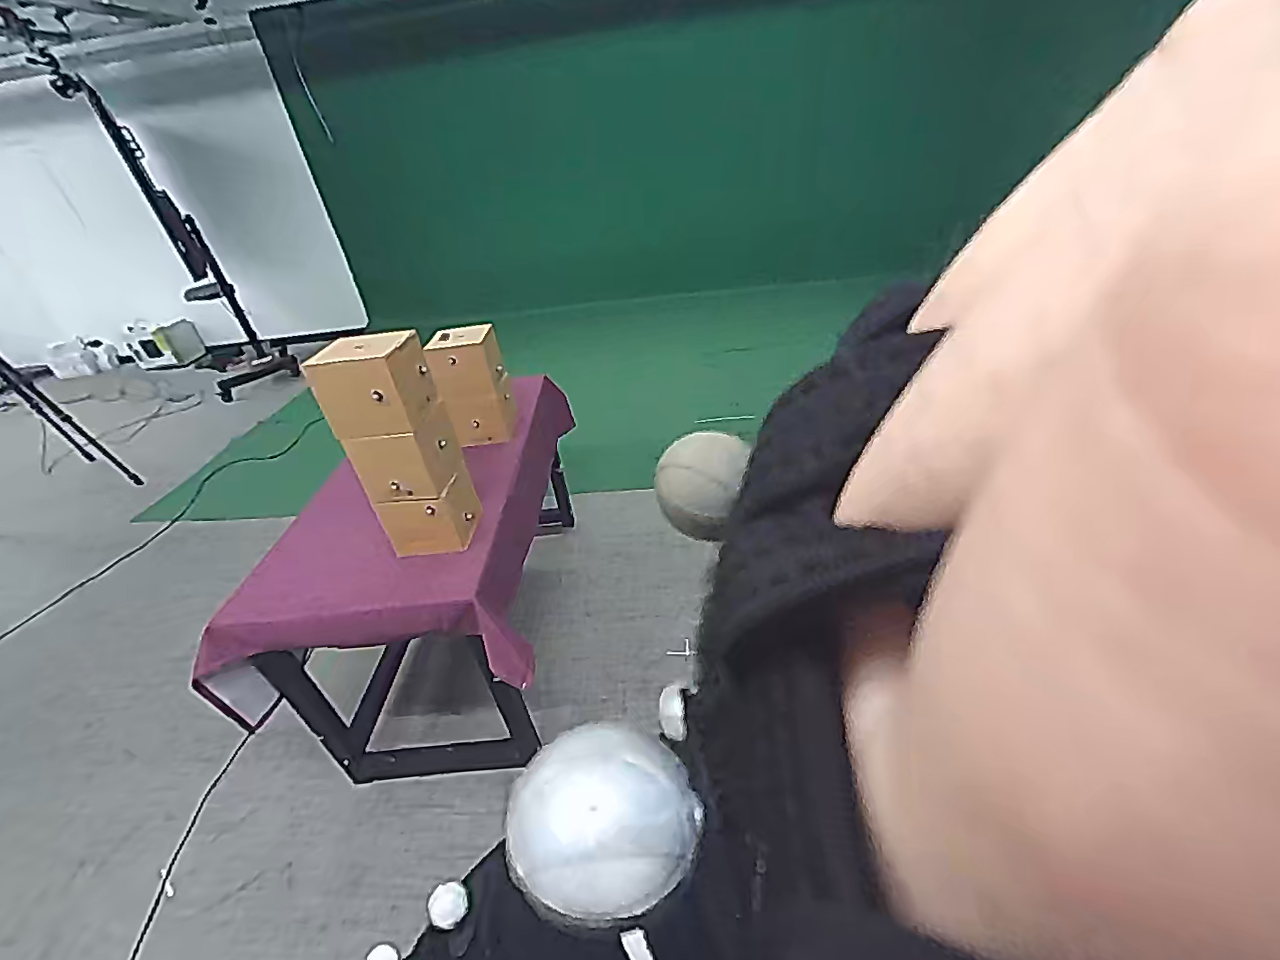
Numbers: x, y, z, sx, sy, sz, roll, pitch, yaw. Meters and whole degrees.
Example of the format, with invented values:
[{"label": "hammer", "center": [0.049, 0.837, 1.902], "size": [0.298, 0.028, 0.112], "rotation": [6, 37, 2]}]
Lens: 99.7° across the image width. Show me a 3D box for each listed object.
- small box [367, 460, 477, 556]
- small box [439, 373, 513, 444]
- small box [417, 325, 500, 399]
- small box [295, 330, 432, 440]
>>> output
[{"label": "small box", "center": [-0.523, 0.071, 1.321], "size": [0.179, 0.176, 0.168], "rotation": [-5, 34, 3]}, {"label": "small box", "center": [-0.521, -0.226, 1.751], "size": [0.168, 0.176, 0.179], "rotation": [-5, 34, 4]}, {"label": "small box", "center": [-0.549, -0.360, 1.658], "size": [0.179, 0.176, 0.168], "rotation": [-7, 35, 2]}, {"label": "small box", "center": [-0.567, -0.200, 1.141], "size": [0.179, 0.176, 0.168], "rotation": [-5, 34, 5]}]
